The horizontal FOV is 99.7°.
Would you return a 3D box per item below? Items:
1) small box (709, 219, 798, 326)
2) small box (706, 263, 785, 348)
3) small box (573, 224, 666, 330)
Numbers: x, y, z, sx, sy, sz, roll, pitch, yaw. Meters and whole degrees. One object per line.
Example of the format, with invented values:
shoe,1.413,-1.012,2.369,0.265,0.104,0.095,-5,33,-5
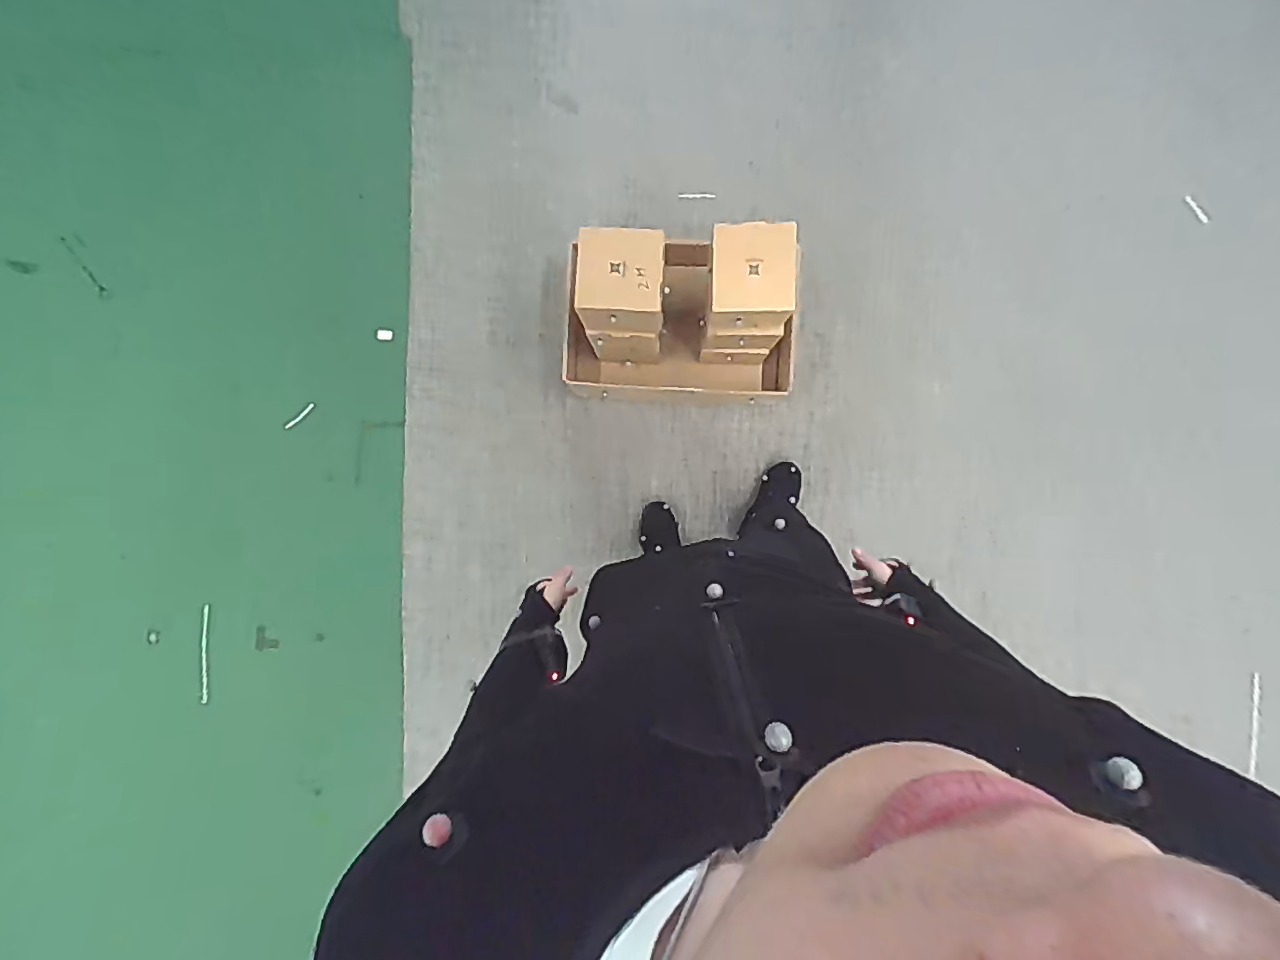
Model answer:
small box,0.234,-0.428,1.146,0.168,0.176,0.179,0,92,5
small box,0.250,-0.418,1.307,0.179,0.176,0.168,1,93,4
small box,-0.037,-0.425,1.155,0.179,0.176,0.168,4,91,3
